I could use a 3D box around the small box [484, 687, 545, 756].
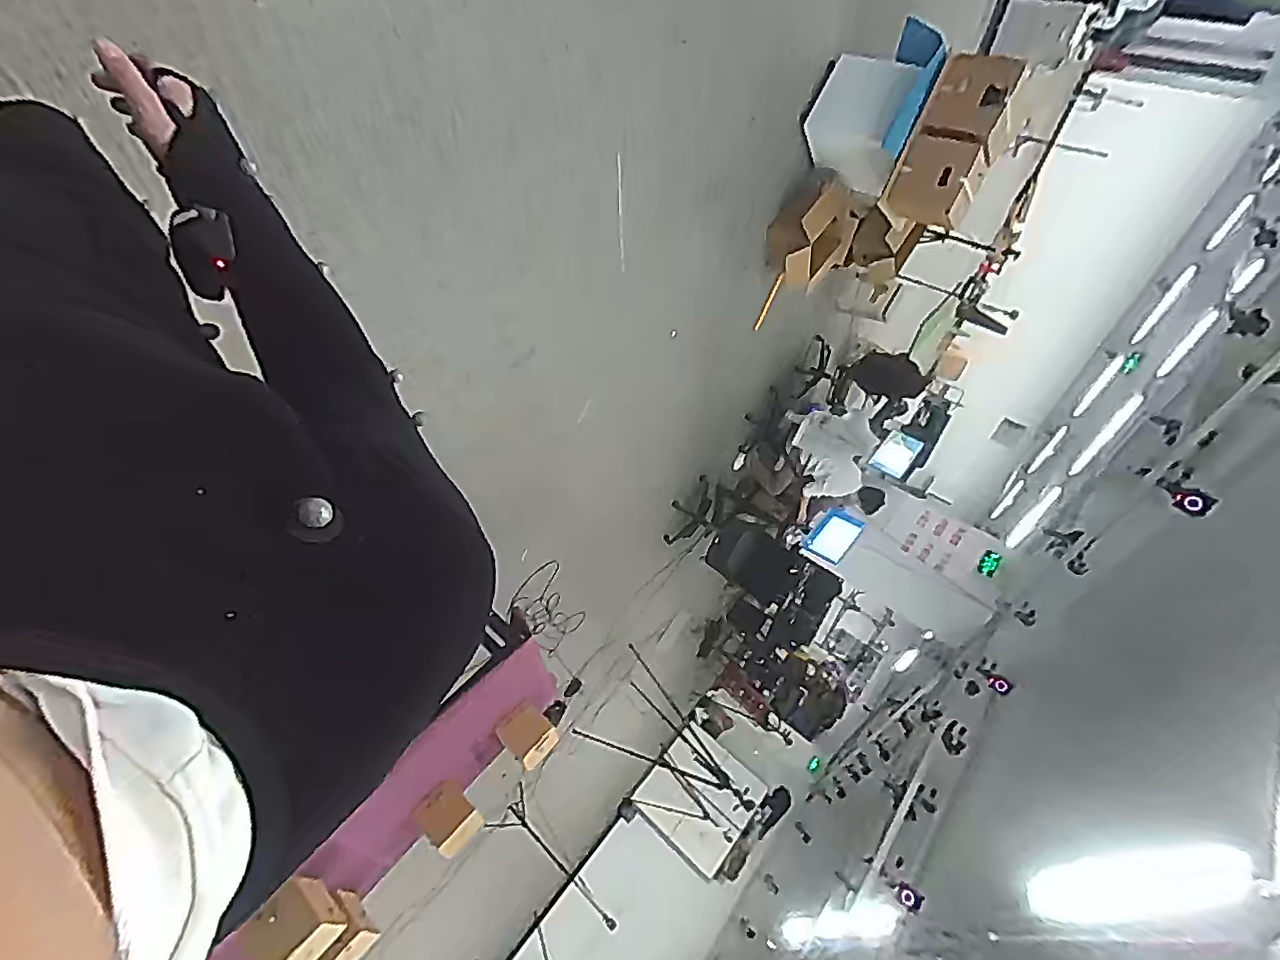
[{"bbox_3d":[-0.511,0.973,2.196,0.168,0.176,0.179,-40,151,-31],"label":"small box"}]

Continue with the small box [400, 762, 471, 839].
[{"bbox_3d":[-0.761,1.192,2.015,0.168,0.176,0.179,-40,151,-33],"label":"small box"}]

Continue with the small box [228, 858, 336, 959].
[{"bbox_3d":[-1.025,1.228,1.554,0.168,0.176,0.179,-43,153,-30],"label":"small box"}]

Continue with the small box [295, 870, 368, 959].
[{"bbox_3d":[-1.044,1.430,1.783,0.168,0.176,0.179,-41,152,-32],"label":"small box"}]
